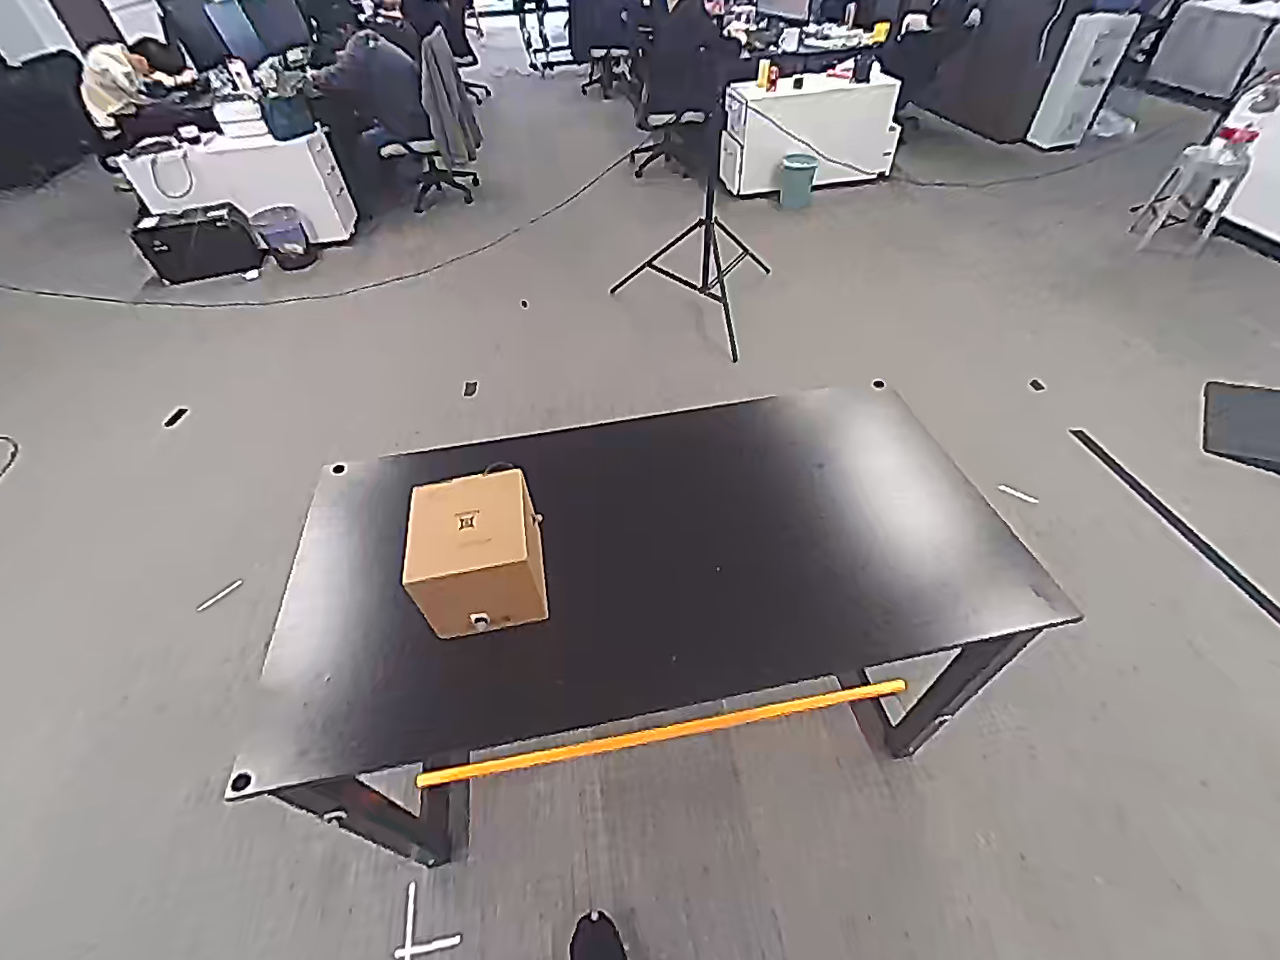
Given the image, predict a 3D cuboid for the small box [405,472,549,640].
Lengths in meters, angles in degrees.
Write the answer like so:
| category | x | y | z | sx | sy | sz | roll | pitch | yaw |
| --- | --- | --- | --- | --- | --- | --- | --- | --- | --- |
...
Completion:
| category | x | y | z | sx | sy | sz | roll | pitch | yaw |
| --- | --- | --- | --- | --- | --- | --- | --- | --- | --- |
| small box | -0.242 | 0.117 | 0.833 | 0.168 | 0.176 | 0.179 | -12 | 48 | -6 |
